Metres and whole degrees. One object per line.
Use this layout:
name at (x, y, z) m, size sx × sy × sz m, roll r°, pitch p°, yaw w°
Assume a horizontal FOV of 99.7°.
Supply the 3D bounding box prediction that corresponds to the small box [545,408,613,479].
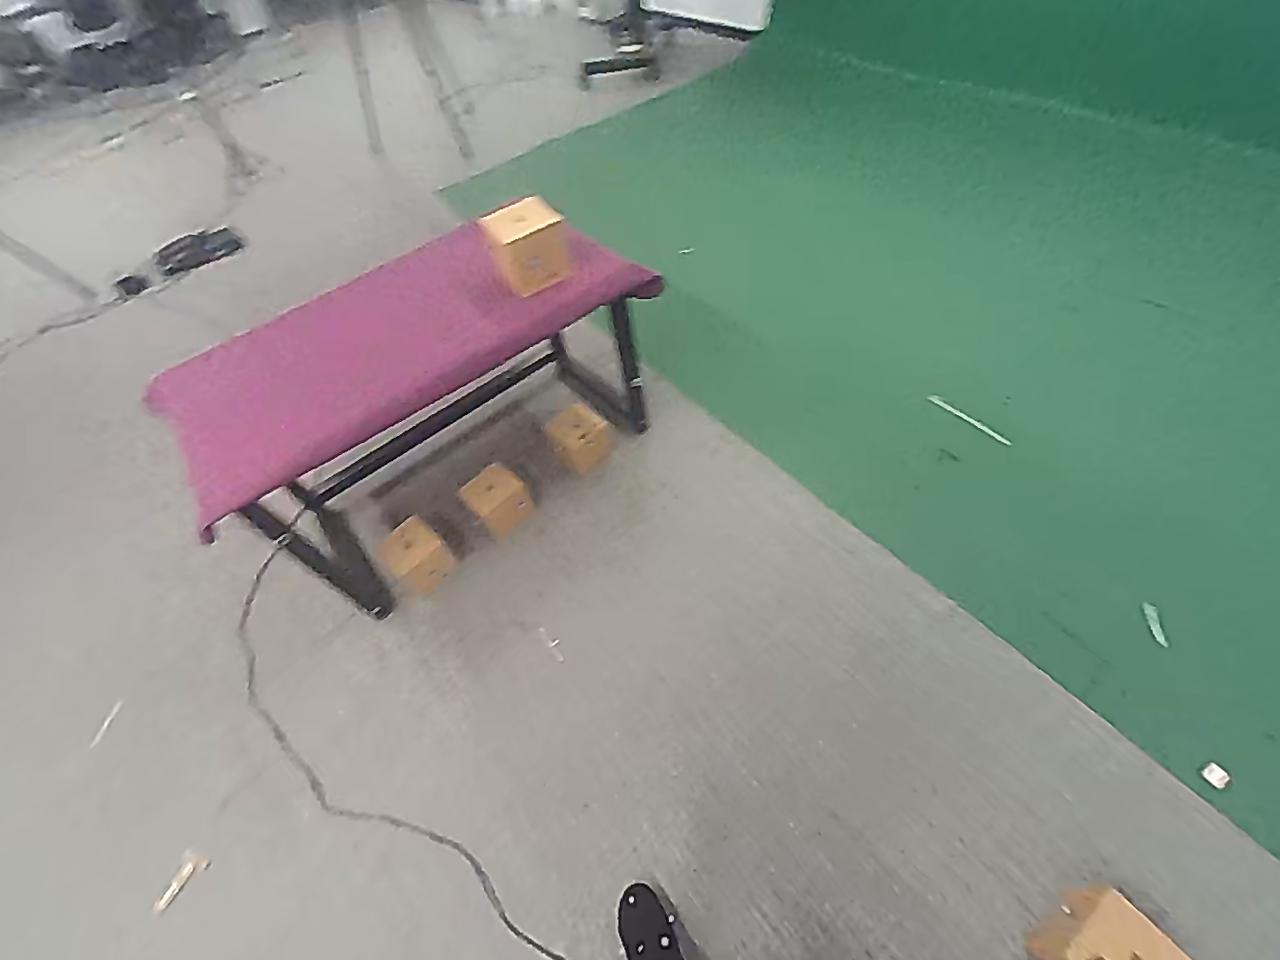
small box at (-0.224, -0.133, 2.026) m, size 0.179 × 0.176 × 0.168 m, roll 36°, pitch 65°, yaw 29°

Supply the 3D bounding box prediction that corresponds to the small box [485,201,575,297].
small box at (-0.299, -0.633, 1.500) m, size 0.168 × 0.176 × 0.179 m, roll -30°, pitch 54°, yaw -14°

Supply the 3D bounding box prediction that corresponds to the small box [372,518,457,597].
small box at (-0.742, 0.266, 1.798) m, size 0.179 × 0.176 × 0.168 m, roll 34°, pitch 64°, yaw 28°

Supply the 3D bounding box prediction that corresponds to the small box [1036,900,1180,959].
small box at (0.916, 0.959, 1.047) m, size 0.179 × 0.176 × 0.168 m, roll -34°, pitch 57°, yaw -18°

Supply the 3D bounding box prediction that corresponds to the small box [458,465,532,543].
small box at (-0.500, 0.086, 1.901) m, size 0.168 × 0.176 × 0.179 m, roll 36°, pitch 66°, yaw 30°
